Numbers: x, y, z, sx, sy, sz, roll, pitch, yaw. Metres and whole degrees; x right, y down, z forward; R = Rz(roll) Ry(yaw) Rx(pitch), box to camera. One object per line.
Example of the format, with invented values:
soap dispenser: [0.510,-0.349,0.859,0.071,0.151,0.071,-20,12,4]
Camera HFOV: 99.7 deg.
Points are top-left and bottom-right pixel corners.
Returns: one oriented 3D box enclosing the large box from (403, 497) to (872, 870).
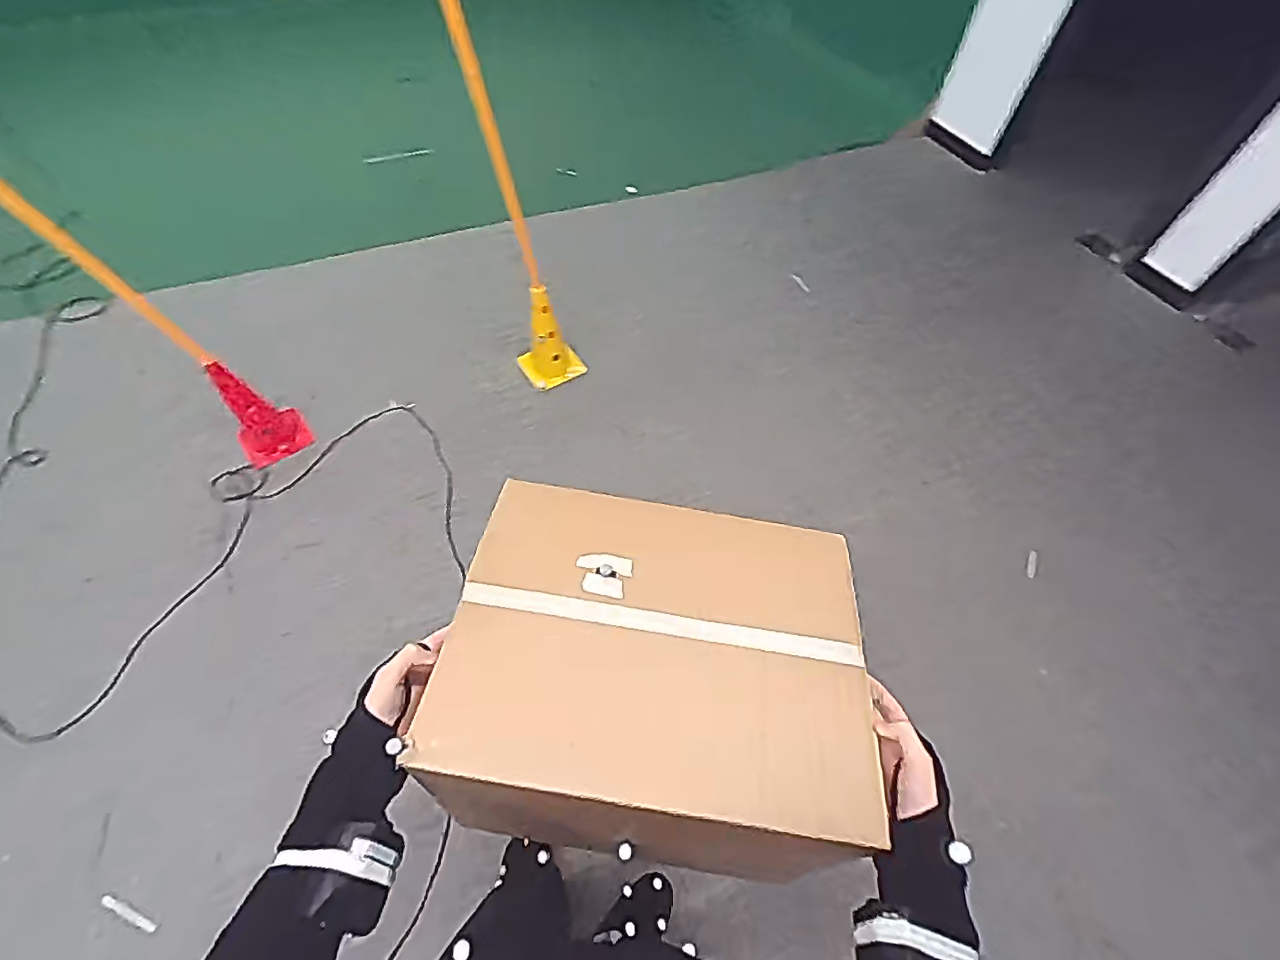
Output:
large box: [0.003,0.254,0.658,0.408,0.320,0.320,8,48,1]
